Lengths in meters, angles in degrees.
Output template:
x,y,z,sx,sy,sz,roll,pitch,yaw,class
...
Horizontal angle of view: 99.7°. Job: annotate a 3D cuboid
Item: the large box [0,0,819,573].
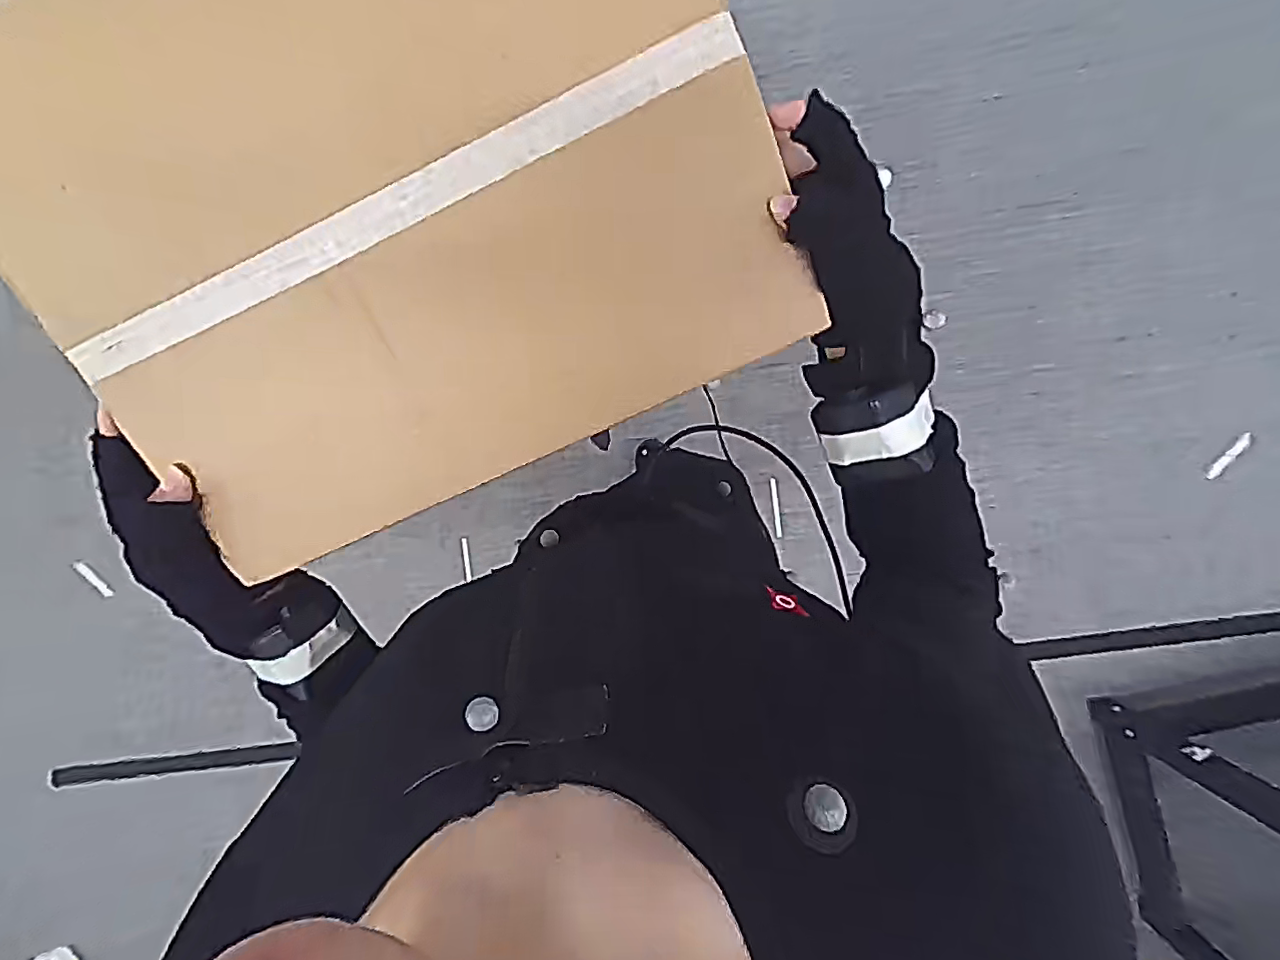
x,y,z,sx,sy,sz,roll,pitch,yaw,class
-0.133,-0.191,0.446,0.408,0.320,0.320,-23,106,5,large box
